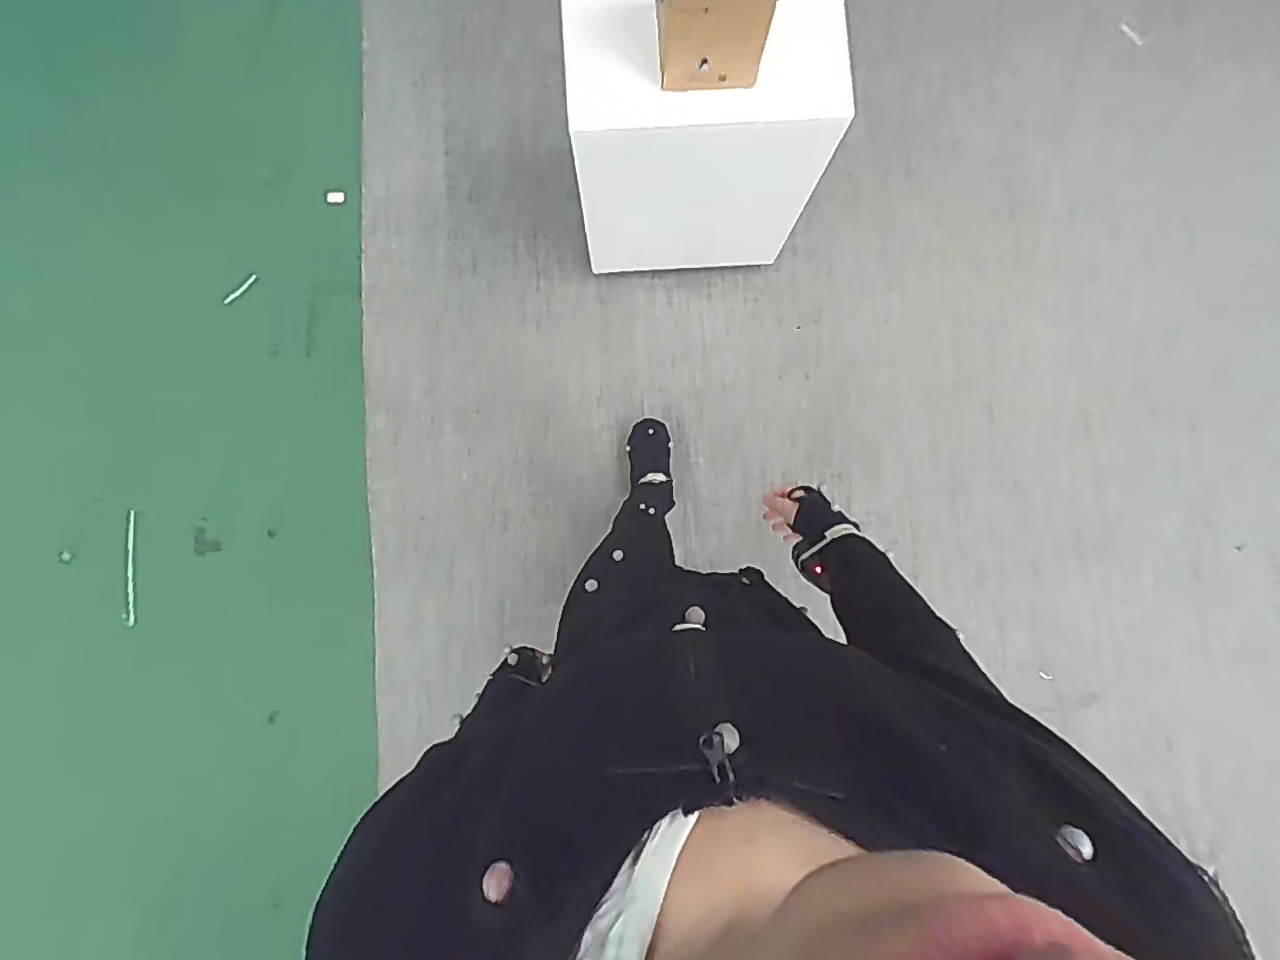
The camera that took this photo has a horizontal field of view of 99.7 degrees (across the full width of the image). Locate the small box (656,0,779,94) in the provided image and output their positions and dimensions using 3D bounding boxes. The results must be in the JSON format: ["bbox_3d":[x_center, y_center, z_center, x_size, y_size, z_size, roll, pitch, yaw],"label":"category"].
[{"bbox_3d":[0.115,-0.771,0.873,0.168,0.176,0.179,-4,85,-1],"label":"small box"}]
